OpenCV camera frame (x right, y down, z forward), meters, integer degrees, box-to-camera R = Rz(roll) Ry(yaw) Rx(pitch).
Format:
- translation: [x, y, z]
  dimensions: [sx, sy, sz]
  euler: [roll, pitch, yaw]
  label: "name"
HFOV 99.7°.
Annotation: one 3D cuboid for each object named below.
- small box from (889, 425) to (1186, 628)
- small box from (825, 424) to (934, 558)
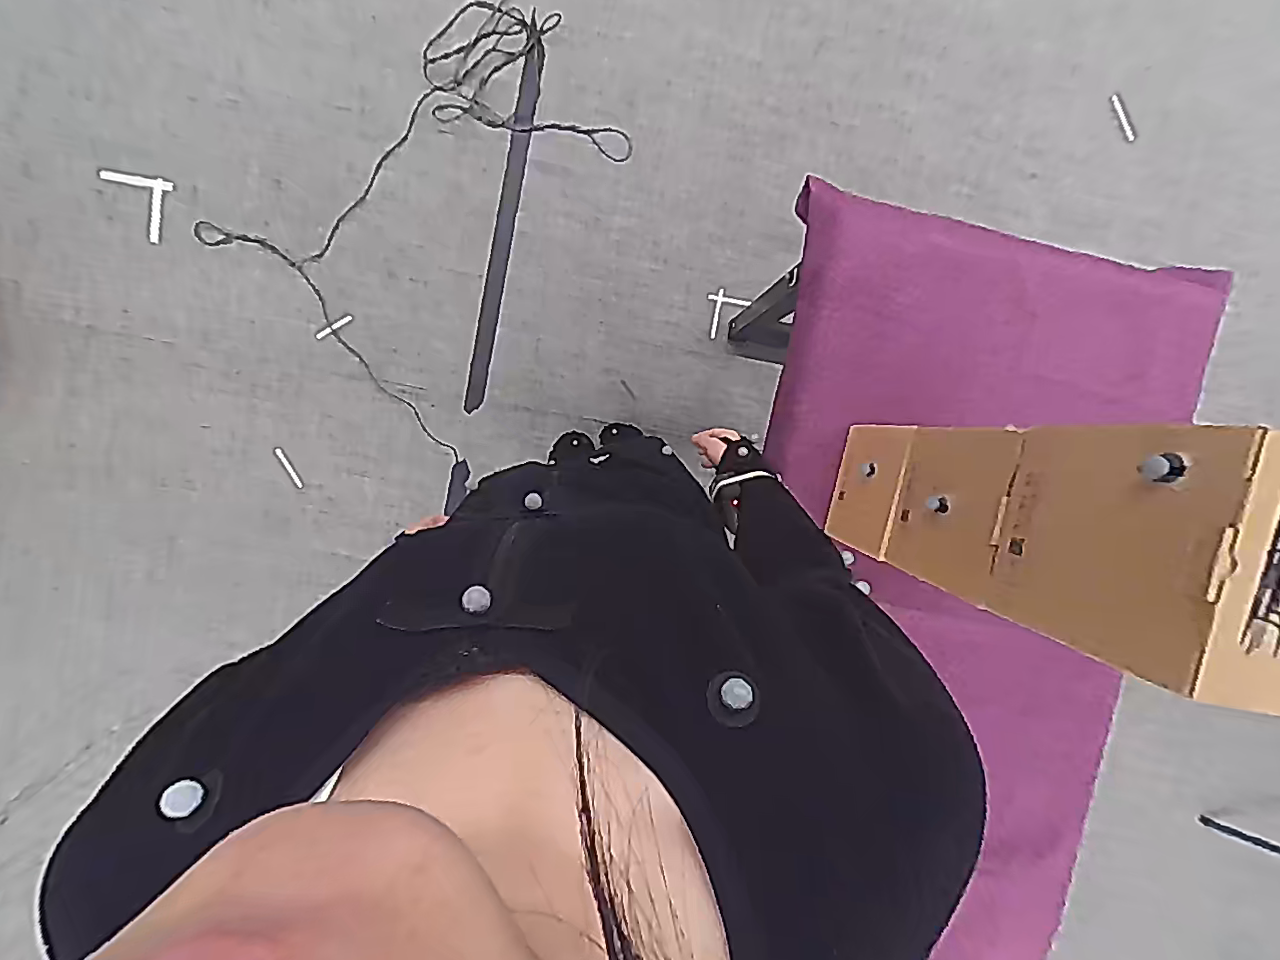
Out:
- translation: [0.397, 0.038, 0.574]
  dimensions: [0.179, 0.176, 0.168]
  euler: [9, 95, -5]
  label: "small box"
- translation: [0.378, 0.023, 0.736]
  dimensions: [0.179, 0.176, 0.168]
  euler: [12, 95, -6]
  label: "small box"
